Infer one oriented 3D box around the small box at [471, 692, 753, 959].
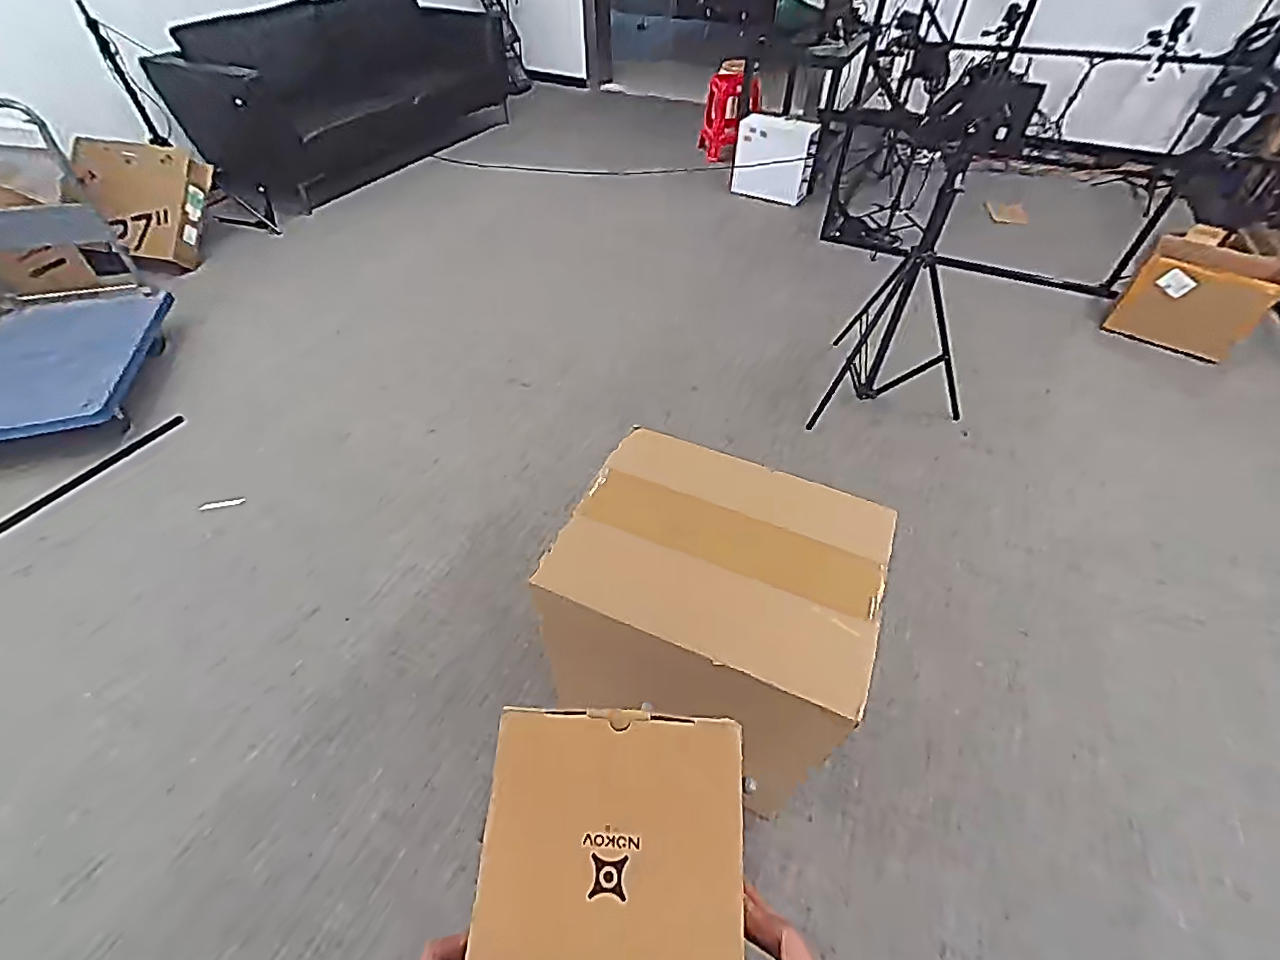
[{"bbox_3d":[-0.008,0.262,0.404,0.168,0.176,0.179,1,64,4],"label":"small box"}]
